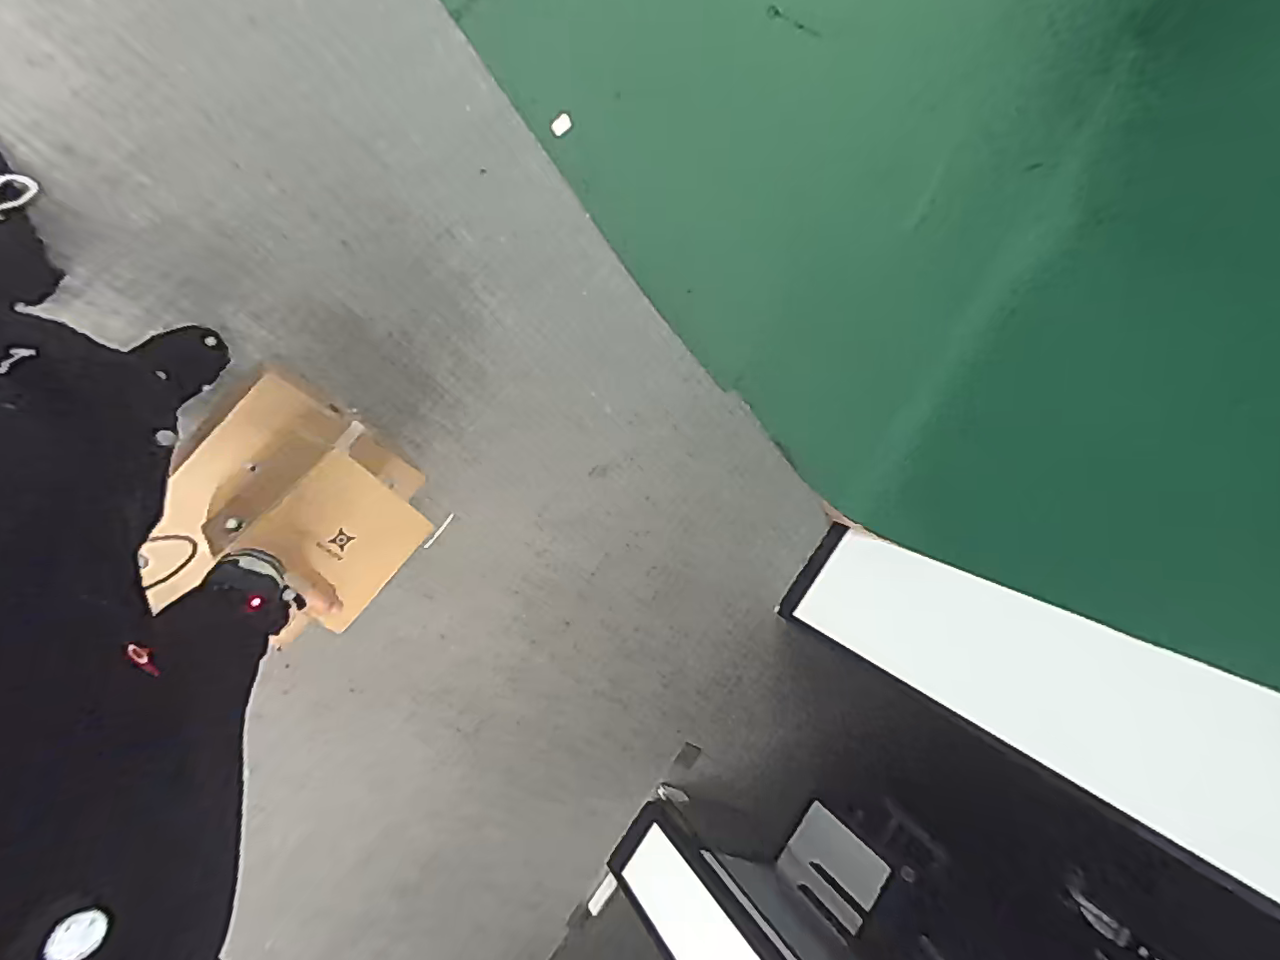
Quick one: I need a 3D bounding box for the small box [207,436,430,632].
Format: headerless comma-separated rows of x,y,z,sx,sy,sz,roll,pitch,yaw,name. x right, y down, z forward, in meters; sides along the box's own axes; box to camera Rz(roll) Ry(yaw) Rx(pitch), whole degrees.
-0.422,0.060,0.708,0.179,0.176,0.168,-54,130,-20,small box

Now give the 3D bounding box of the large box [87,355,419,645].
-0.707,0.024,1.039,0.408,0.320,0.320,-53,127,-8,large box
